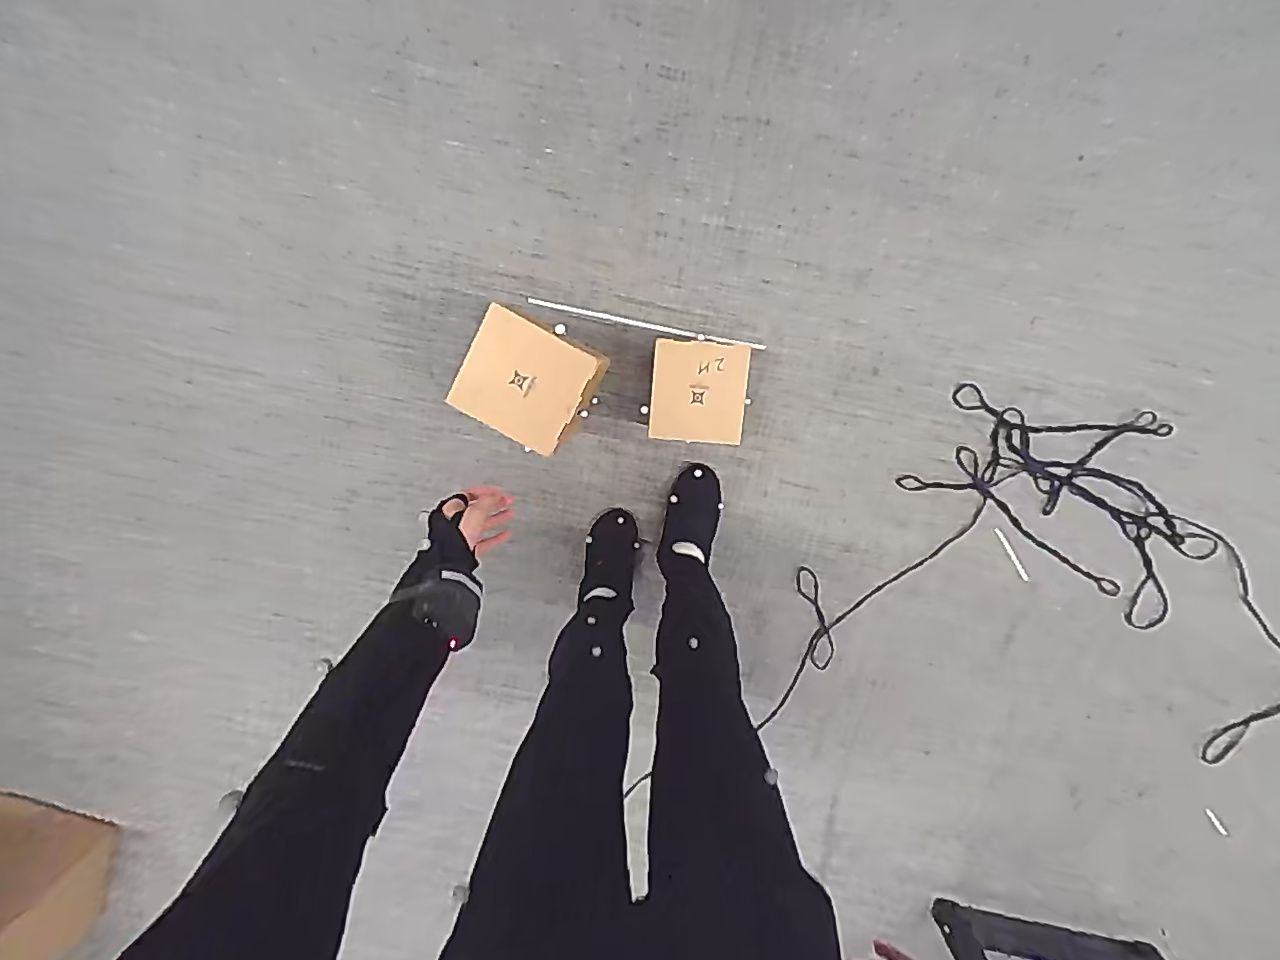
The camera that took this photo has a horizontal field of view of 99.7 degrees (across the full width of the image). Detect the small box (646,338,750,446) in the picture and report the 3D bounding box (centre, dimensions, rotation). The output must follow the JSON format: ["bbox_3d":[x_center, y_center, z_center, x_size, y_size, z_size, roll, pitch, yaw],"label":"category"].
[{"bbox_3d":[0.104,-0.168,1.016,0.168,0.176,0.179,5,102,1],"label":"small box"}]

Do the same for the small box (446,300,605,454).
[{"bbox_3d":[-0.171,-0.161,0.864,0.179,0.176,0.168,28,101,-5],"label":"small box"}]
